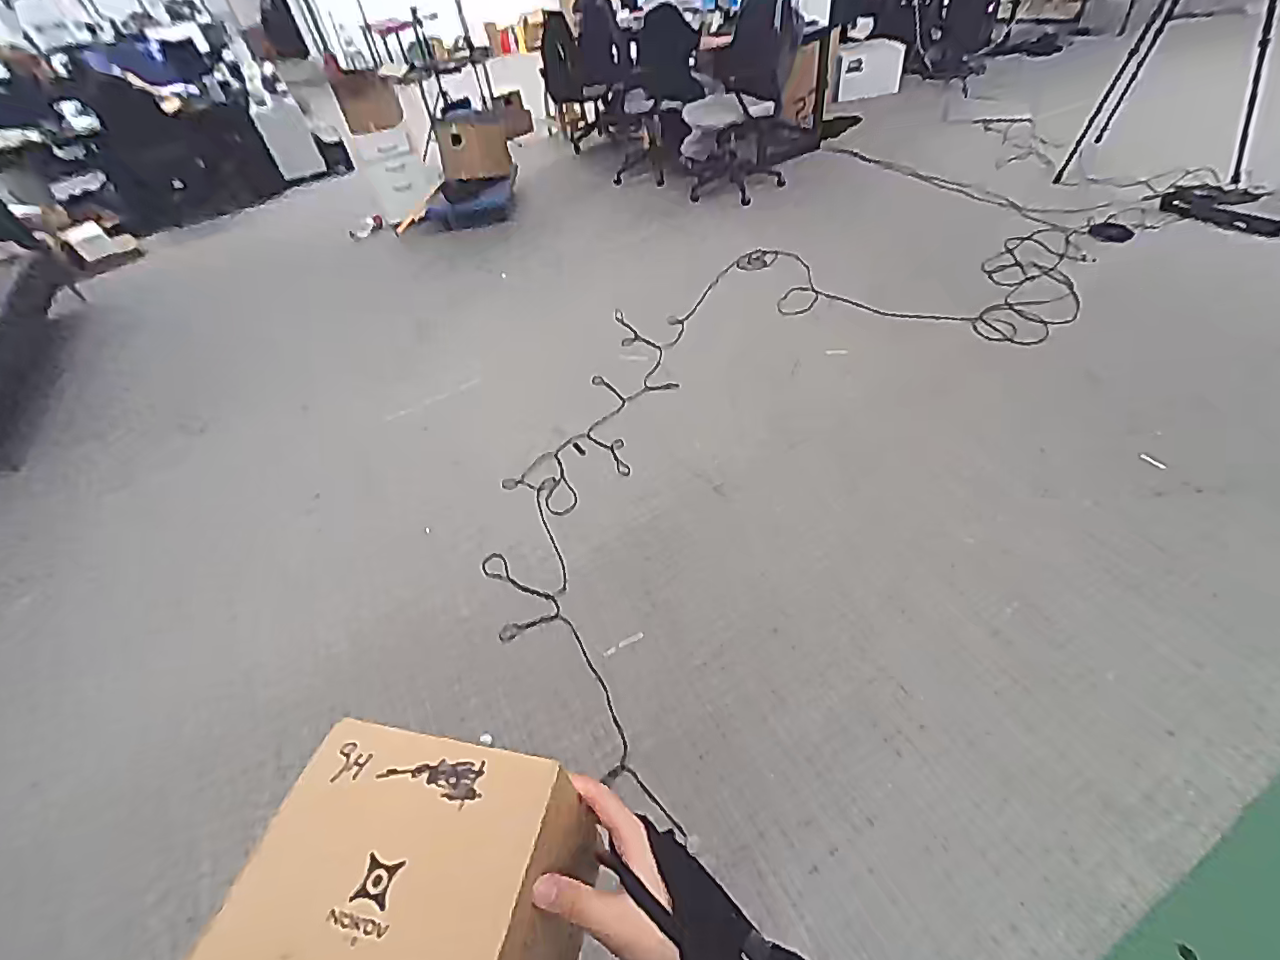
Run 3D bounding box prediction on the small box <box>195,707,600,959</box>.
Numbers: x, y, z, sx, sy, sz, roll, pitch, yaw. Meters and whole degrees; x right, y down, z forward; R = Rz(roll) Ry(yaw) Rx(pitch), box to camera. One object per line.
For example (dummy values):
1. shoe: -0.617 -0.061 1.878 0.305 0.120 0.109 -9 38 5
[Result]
1. small box: -0.134 0.282 0.355 0.168 0.176 0.179 4 45 14
